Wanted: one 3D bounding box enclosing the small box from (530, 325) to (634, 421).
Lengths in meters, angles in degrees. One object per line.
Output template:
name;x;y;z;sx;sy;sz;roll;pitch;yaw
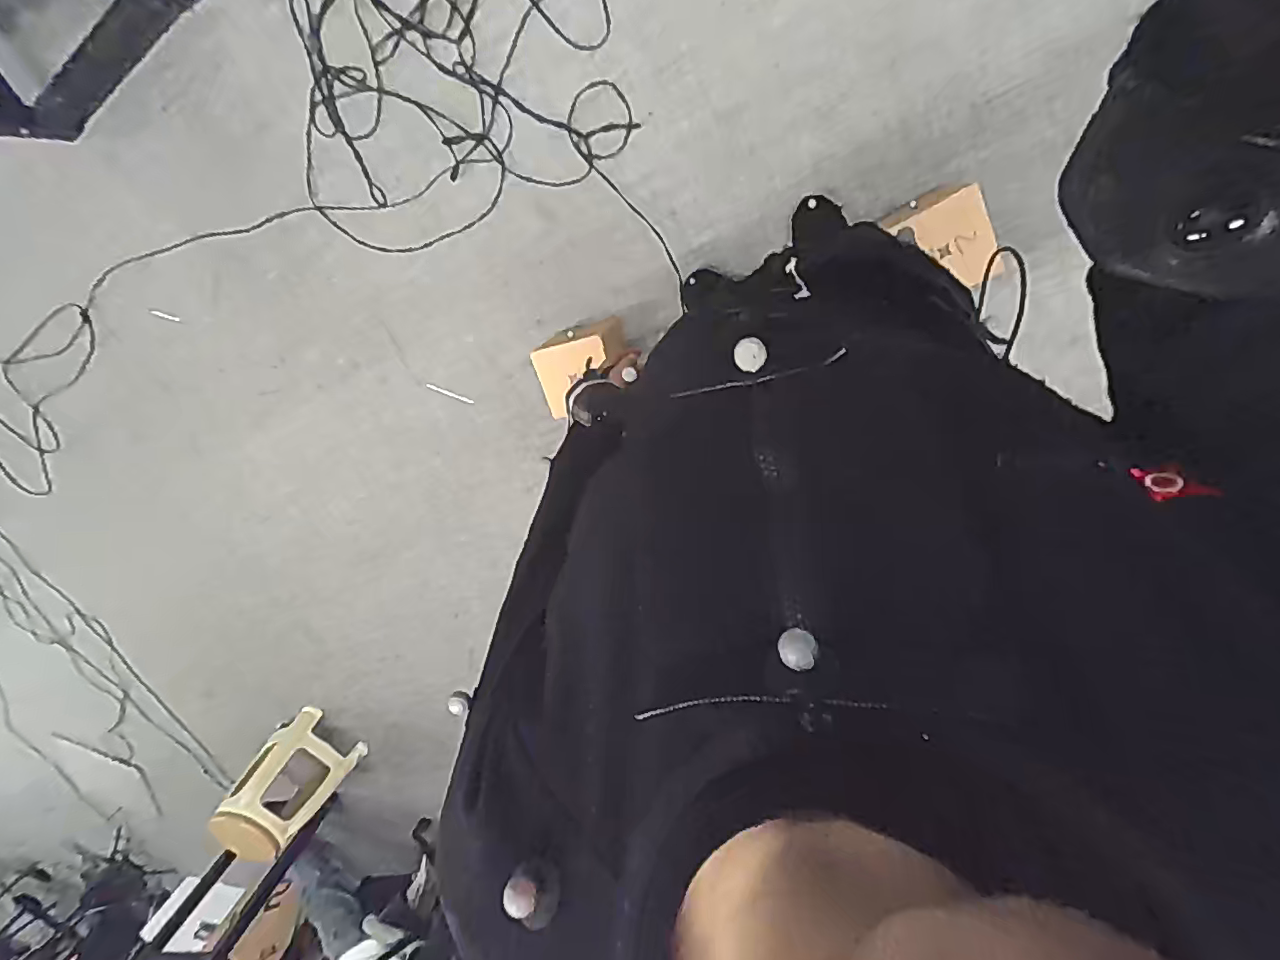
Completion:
small box;-0.131;-0.259;1.292;0.179;0.176;0.168;-11;114;16
